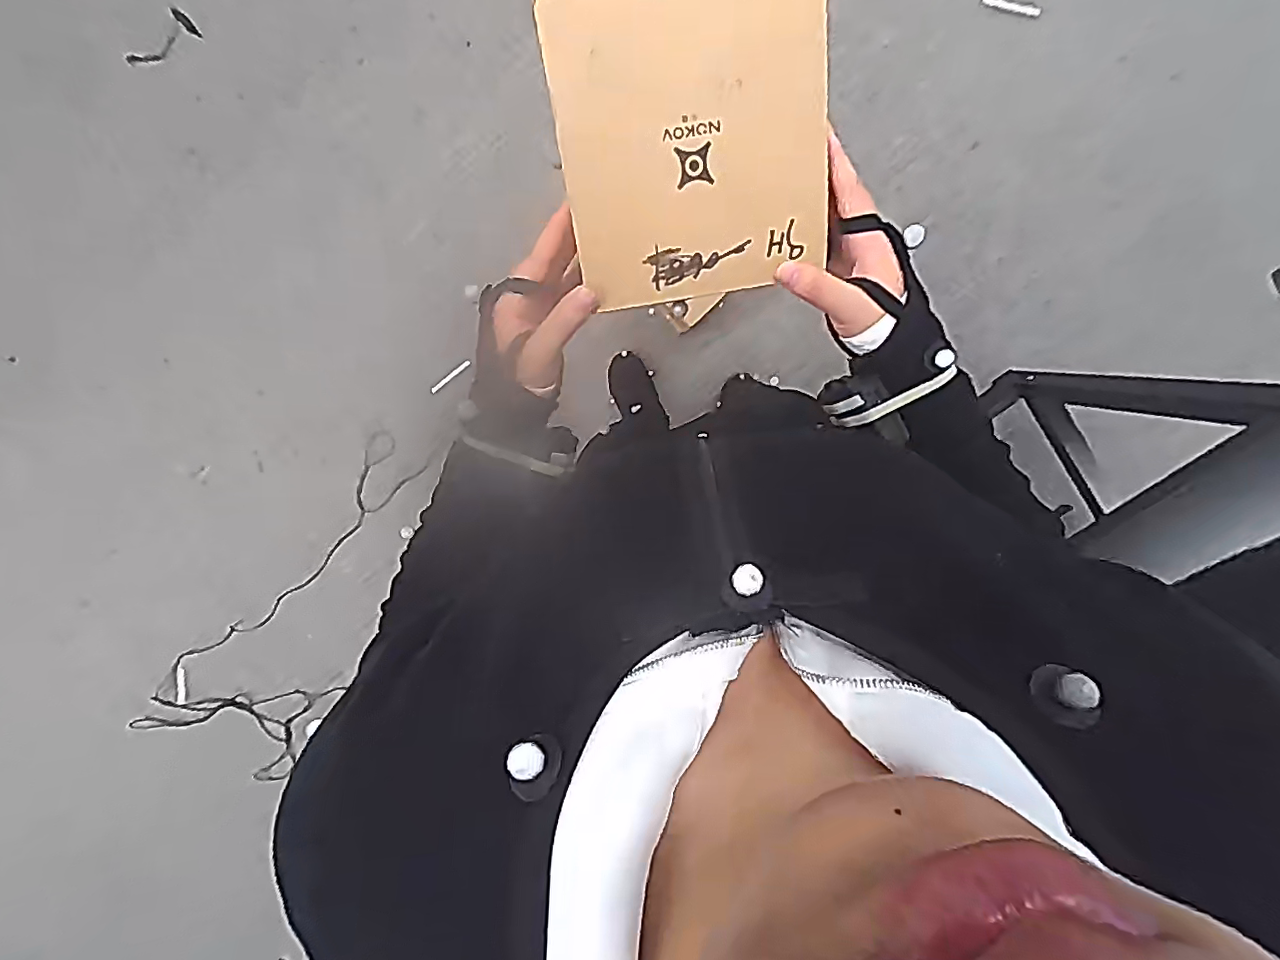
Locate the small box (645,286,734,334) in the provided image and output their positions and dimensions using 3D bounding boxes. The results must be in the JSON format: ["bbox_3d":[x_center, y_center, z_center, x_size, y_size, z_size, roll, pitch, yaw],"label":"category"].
[{"bbox_3d":[0.104,-0.476,1.318,0.179,0.176,0.168,-40,99,10],"label":"small box"}]

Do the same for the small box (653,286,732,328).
[{"bbox_3d":[0.106,-0.444,1.158,0.179,0.176,0.168,-43,100,8],"label":"small box"}]

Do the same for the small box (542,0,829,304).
[{"bbox_3d":[0.031,-0.239,0.405,0.168,0.176,0.179,-8,114,1],"label":"small box"}]
